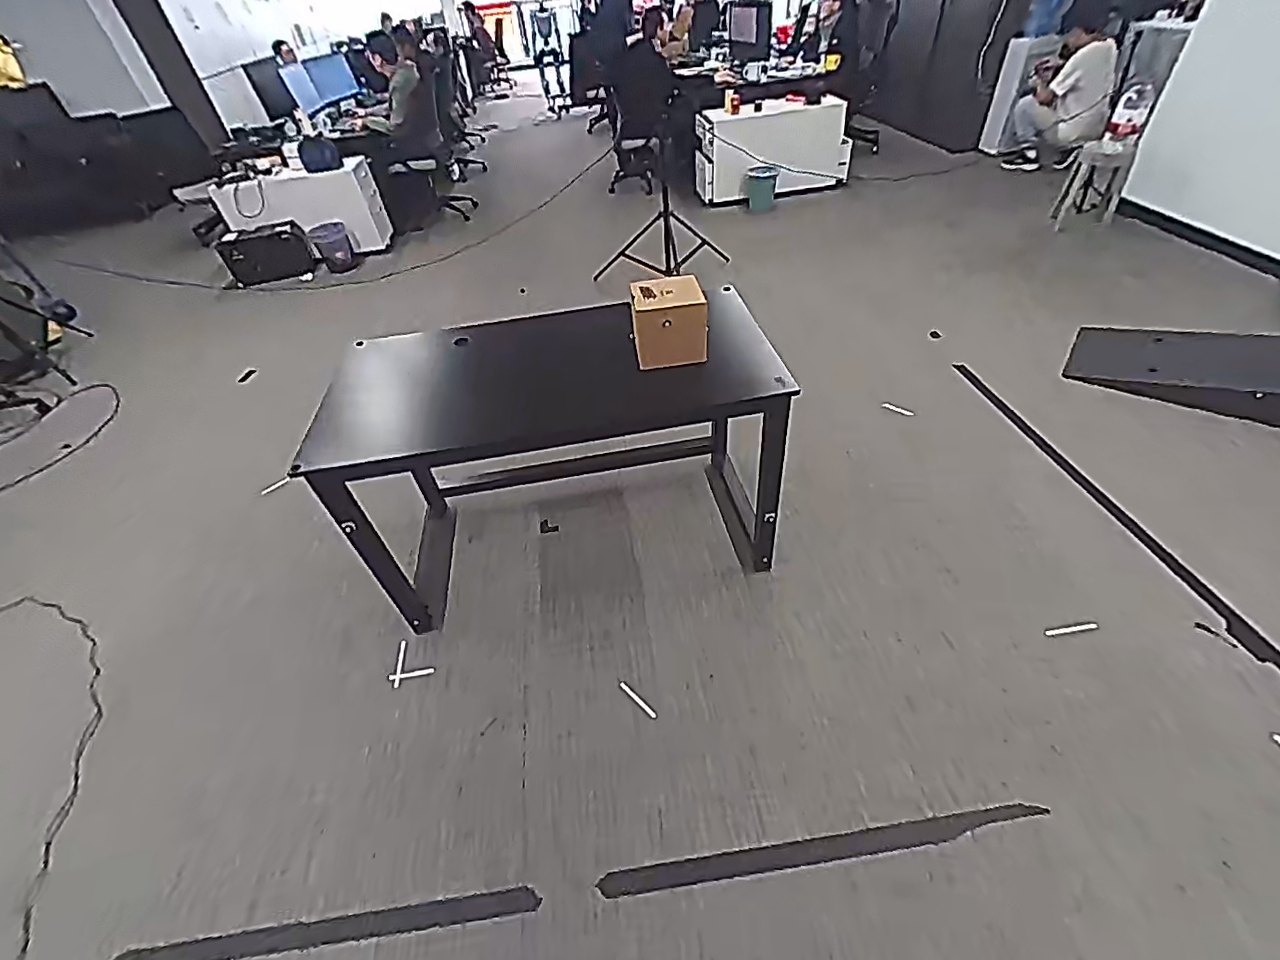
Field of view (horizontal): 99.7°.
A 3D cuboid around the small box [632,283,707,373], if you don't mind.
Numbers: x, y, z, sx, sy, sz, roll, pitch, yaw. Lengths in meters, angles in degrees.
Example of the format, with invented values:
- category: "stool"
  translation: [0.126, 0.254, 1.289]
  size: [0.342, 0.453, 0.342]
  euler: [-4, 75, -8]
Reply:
- category: "small box"
  translation: [0.079, -0.398, 1.429]
  size: [0.179, 0.176, 0.168]
  euler: [-8, 43, -1]
